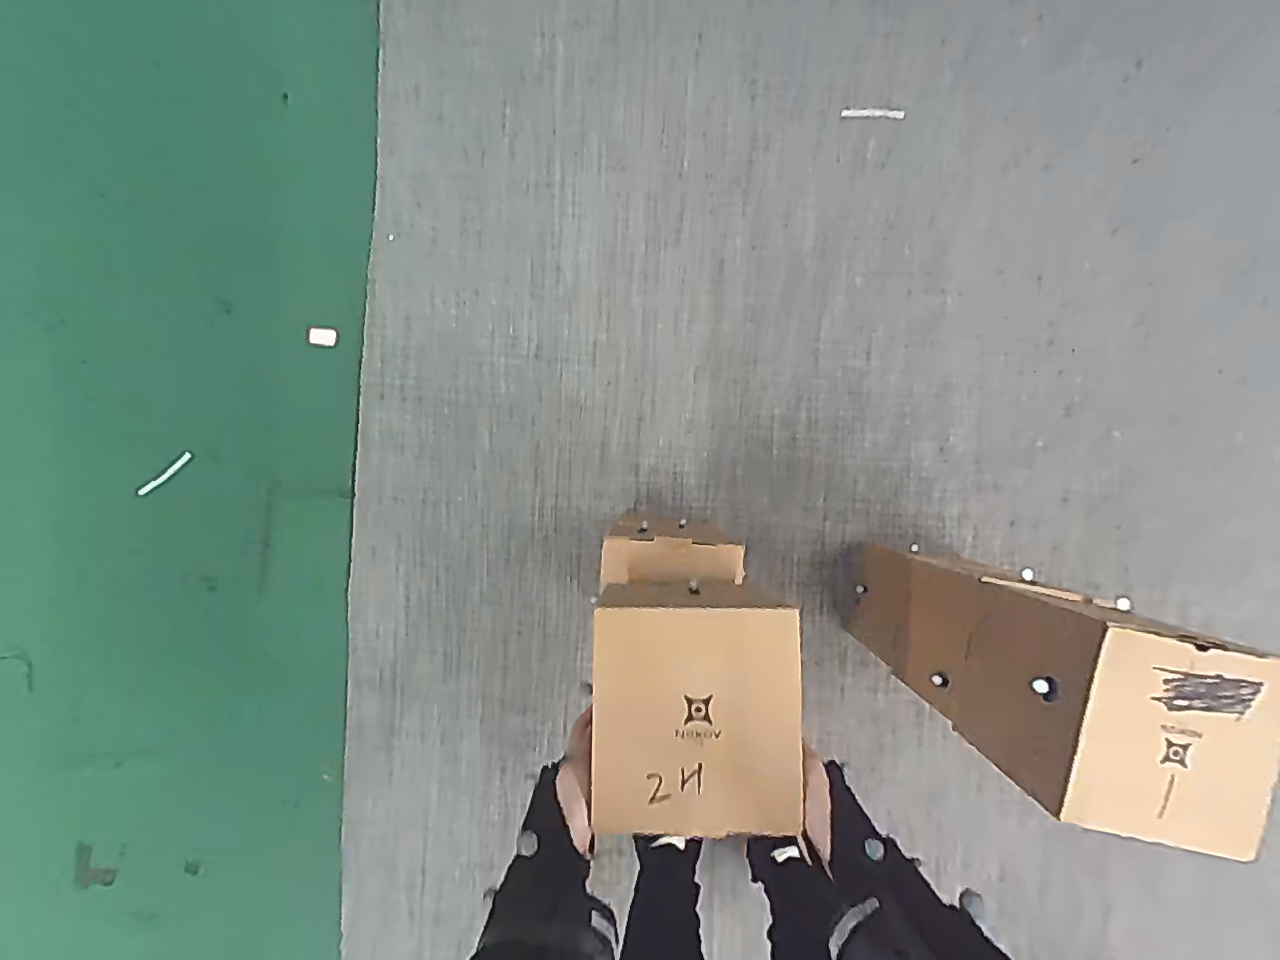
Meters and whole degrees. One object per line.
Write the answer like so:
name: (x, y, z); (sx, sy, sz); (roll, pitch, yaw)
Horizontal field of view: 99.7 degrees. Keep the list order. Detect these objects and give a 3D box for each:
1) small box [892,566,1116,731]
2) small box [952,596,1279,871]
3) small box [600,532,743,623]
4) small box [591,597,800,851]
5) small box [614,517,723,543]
small box: (0.452, 0.218, 0.700); (0.168, 0.176, 0.179); (10, 92, 1)
small box: (0.446, 0.229, 0.537); (0.168, 0.176, 0.179); (12, 93, 1)
small box: (0.036, 0.165, 0.710); (0.168, 0.176, 0.179); (3, 92, 3)
small box: (0.044, 0.207, 0.506); (0.168, 0.176, 0.179); (0, 87, 1)
small box: (0.037, 0.162, 0.872); (0.168, 0.176, 0.179); (7, 92, 1)
